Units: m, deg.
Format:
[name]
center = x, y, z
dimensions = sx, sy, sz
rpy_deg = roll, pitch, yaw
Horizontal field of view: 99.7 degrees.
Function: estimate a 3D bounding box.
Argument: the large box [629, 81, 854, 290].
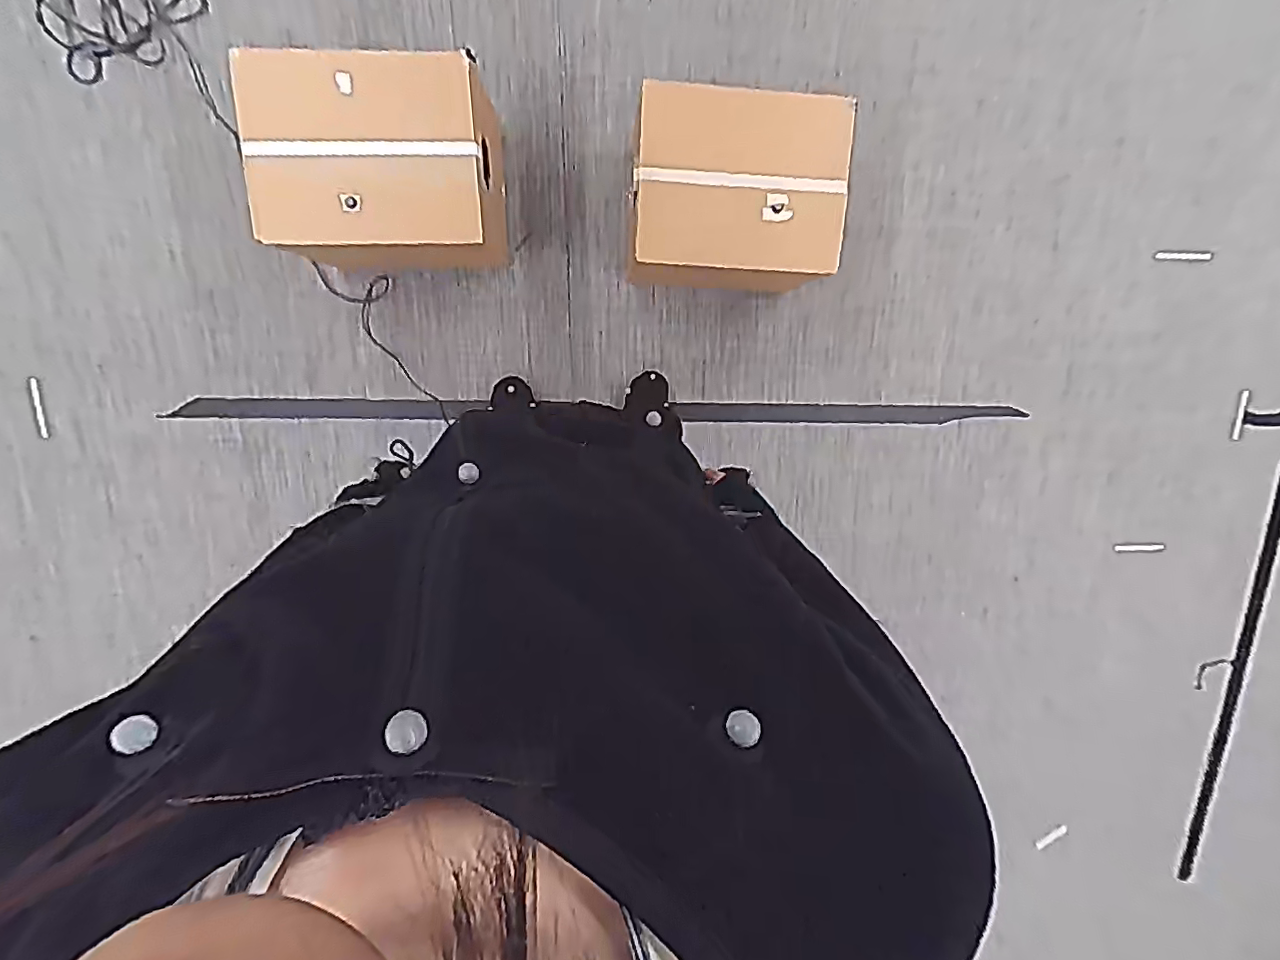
[large box]
center = 0.187, -0.601, 1.174
dimensions = 0.408, 0.320, 0.320
rpy_deg = 2, 102, -6
